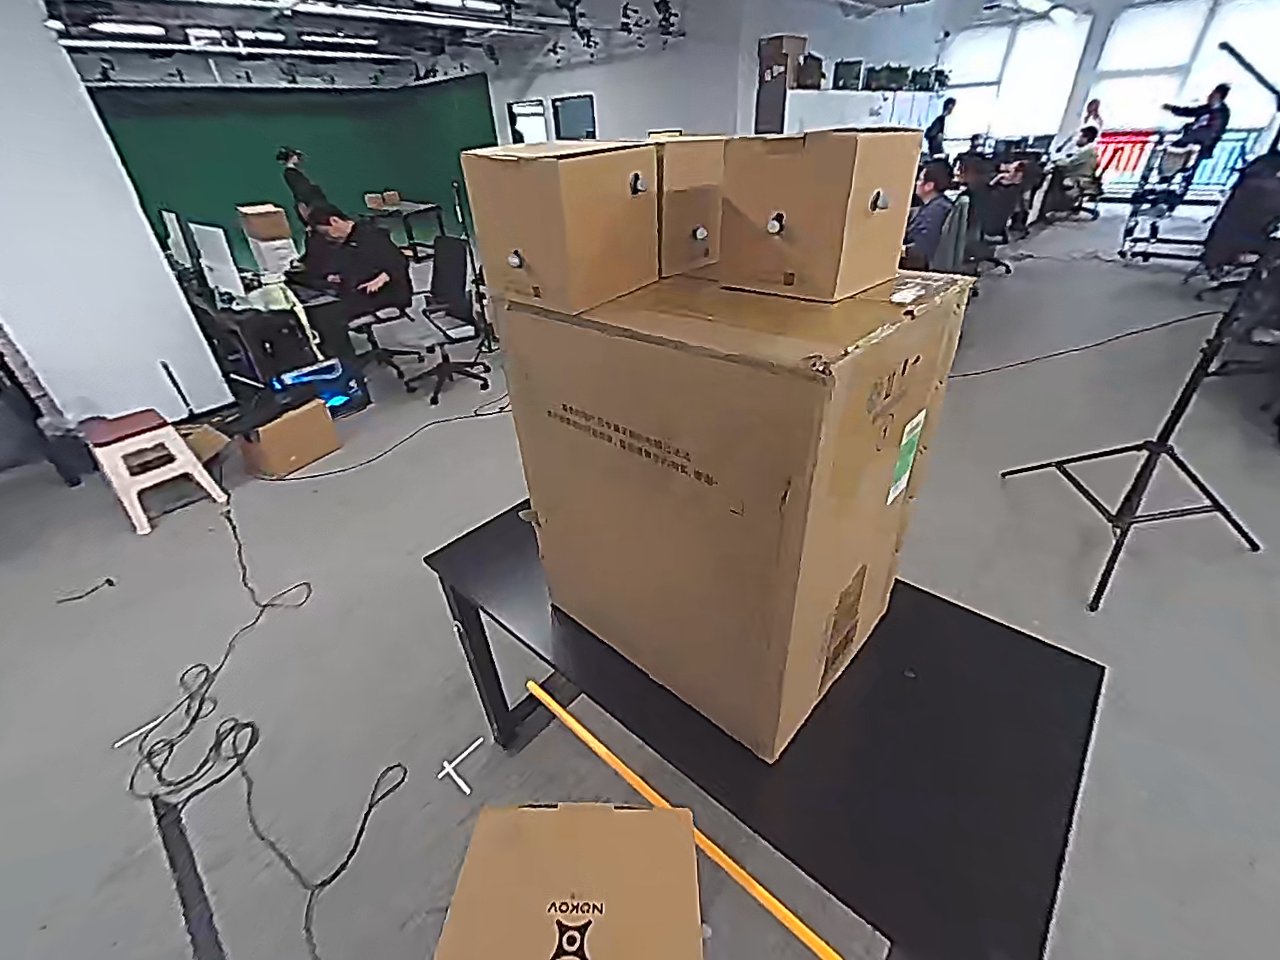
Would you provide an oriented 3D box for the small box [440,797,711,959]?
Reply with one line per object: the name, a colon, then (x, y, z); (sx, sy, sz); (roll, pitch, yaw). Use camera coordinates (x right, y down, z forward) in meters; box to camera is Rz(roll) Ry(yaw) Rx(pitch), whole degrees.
small box: (-0.039, 0.357, 0.372); (0.168, 0.176, 0.179); (0, 22, 1)
